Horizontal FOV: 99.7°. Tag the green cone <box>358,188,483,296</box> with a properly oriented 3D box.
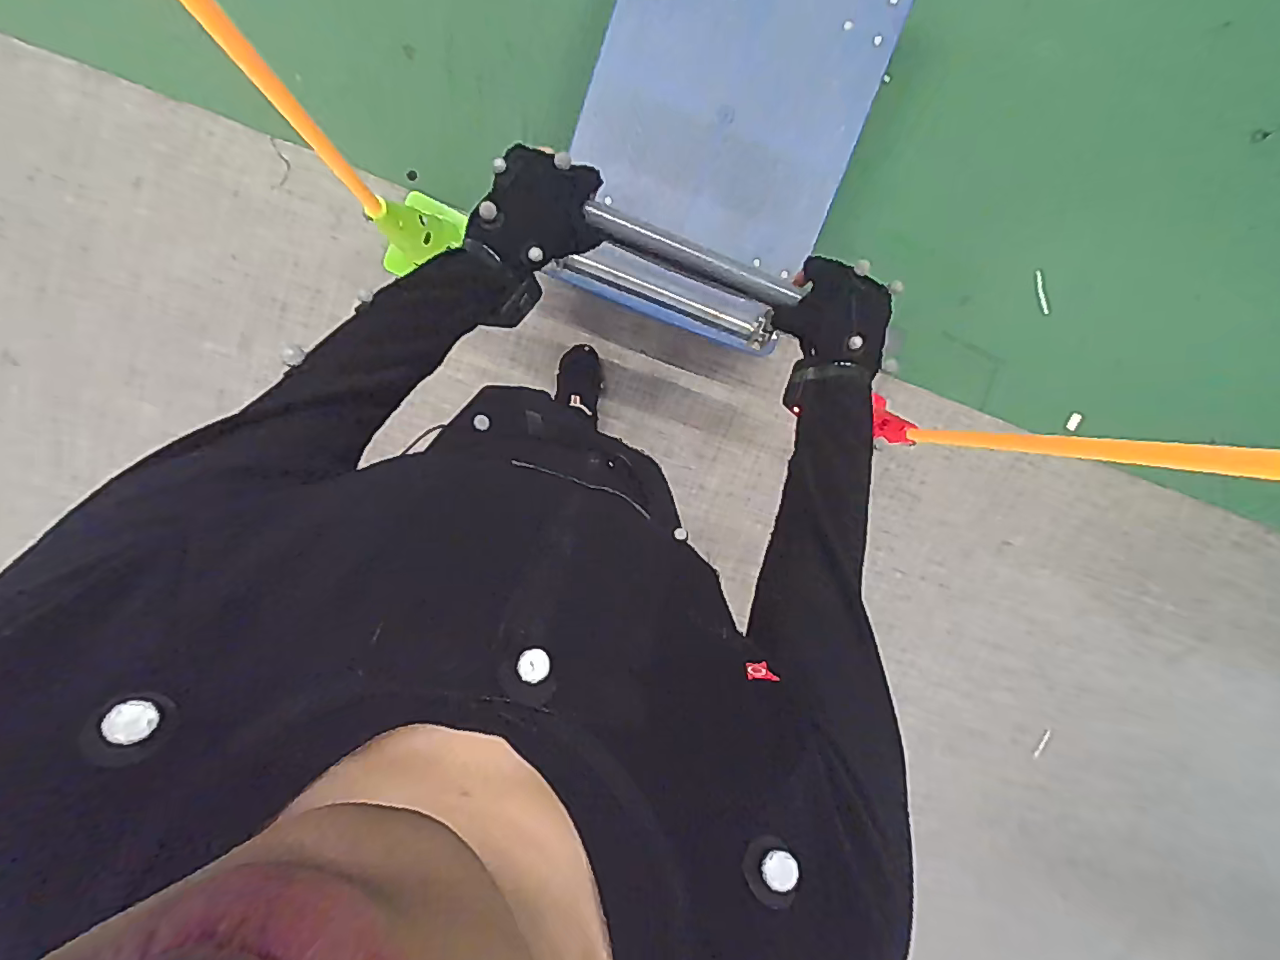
[{"bbox_3d":[-0.498,-0.547,1.159,0.202,0.368,0.200,24,99,-7],"label":"green cone"}]
